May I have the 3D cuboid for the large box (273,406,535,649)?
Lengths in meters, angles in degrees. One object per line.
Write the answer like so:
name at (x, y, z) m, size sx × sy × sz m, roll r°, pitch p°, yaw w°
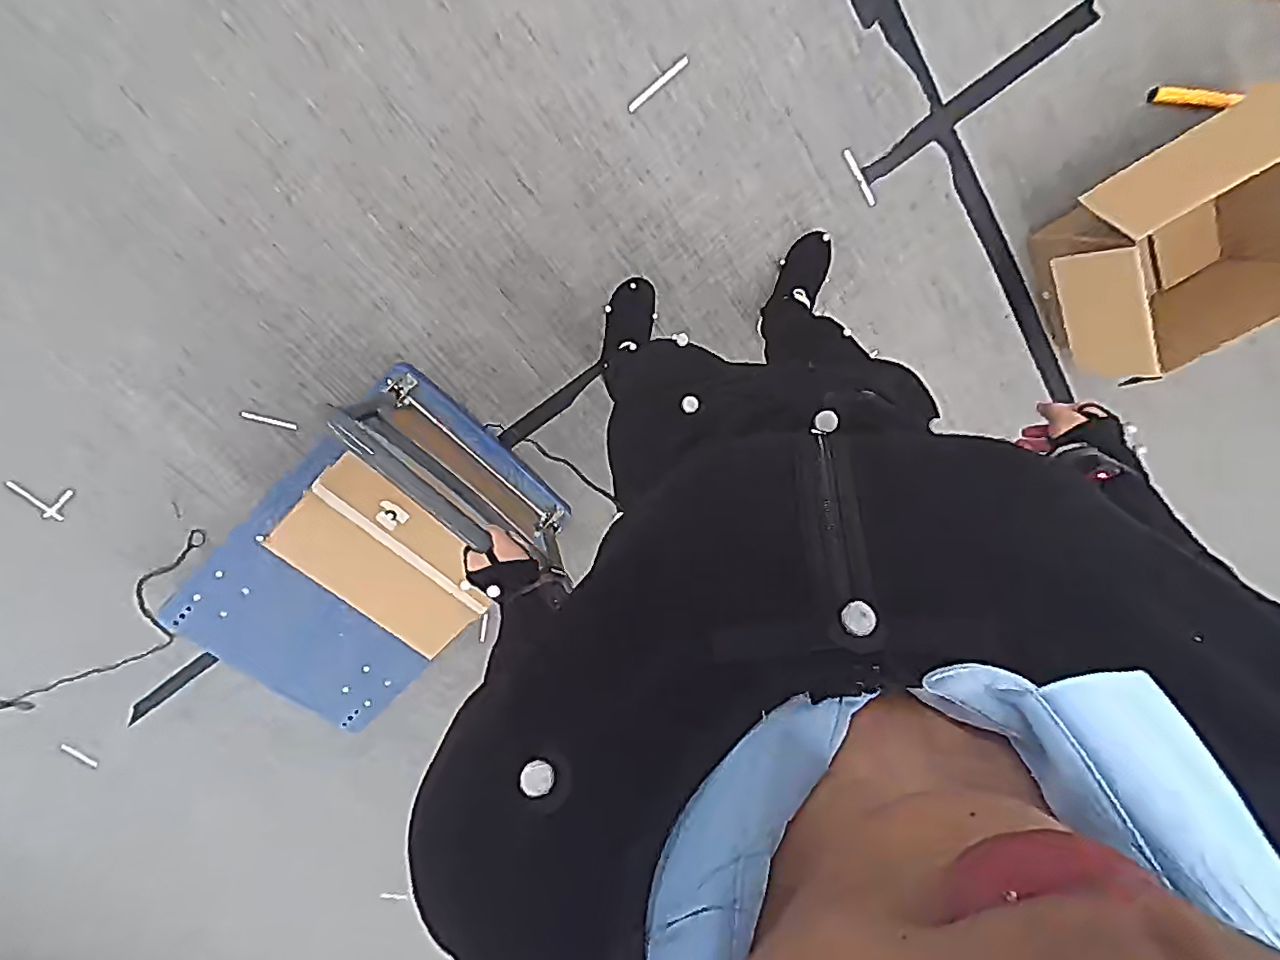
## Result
large box at (-0.487, 0.091, 1.226) m, size 0.320 × 0.320 × 0.408 m, roll -45°, pitch 108°, yaw 2°
